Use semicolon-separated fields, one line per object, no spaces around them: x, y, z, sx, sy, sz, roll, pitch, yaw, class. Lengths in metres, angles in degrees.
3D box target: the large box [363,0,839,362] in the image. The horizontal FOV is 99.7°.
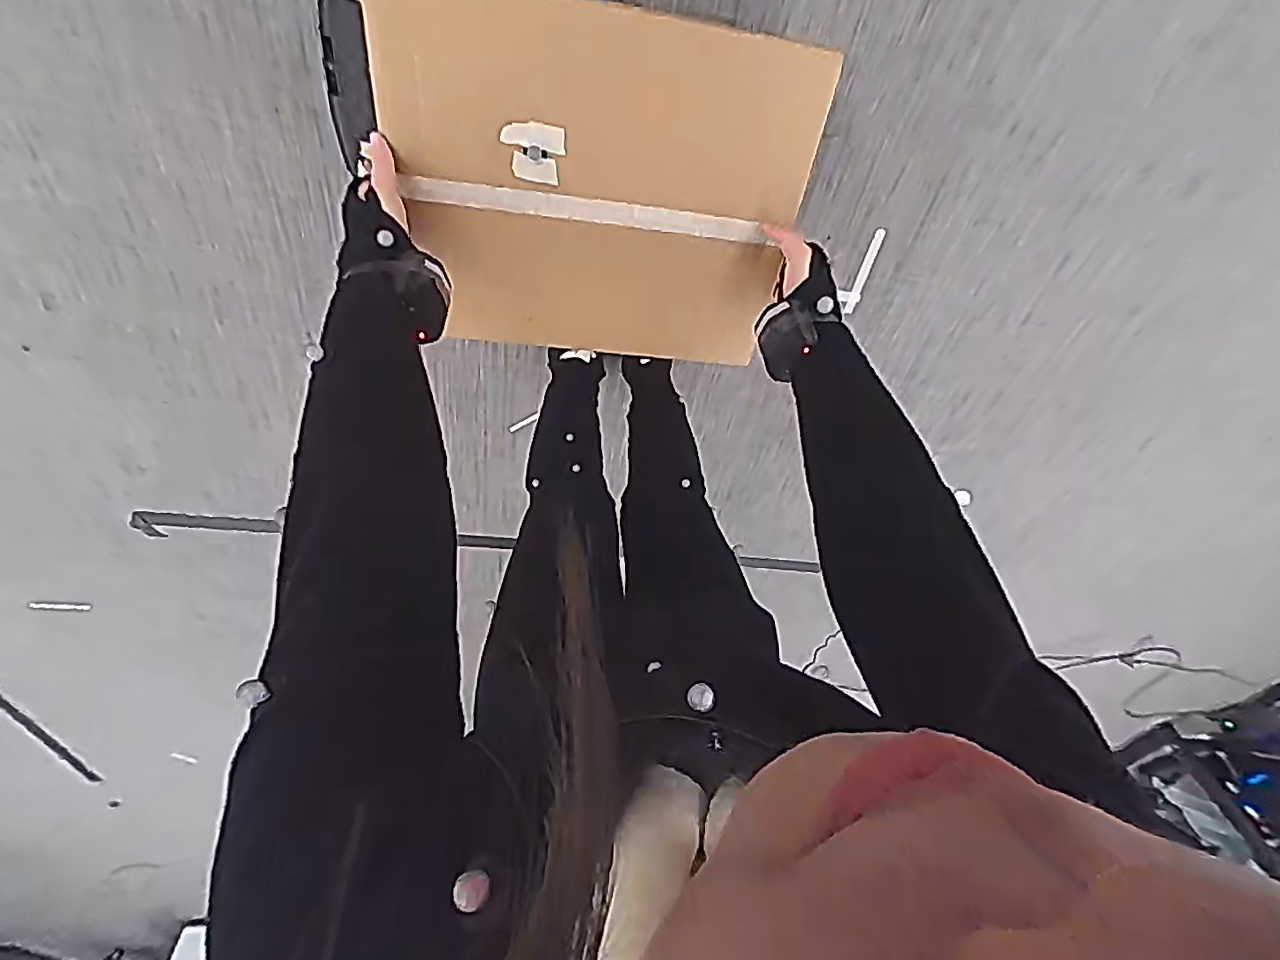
-0.049;-0.367;0.648;0.408;0.320;0.320;4;130;-9;large box
